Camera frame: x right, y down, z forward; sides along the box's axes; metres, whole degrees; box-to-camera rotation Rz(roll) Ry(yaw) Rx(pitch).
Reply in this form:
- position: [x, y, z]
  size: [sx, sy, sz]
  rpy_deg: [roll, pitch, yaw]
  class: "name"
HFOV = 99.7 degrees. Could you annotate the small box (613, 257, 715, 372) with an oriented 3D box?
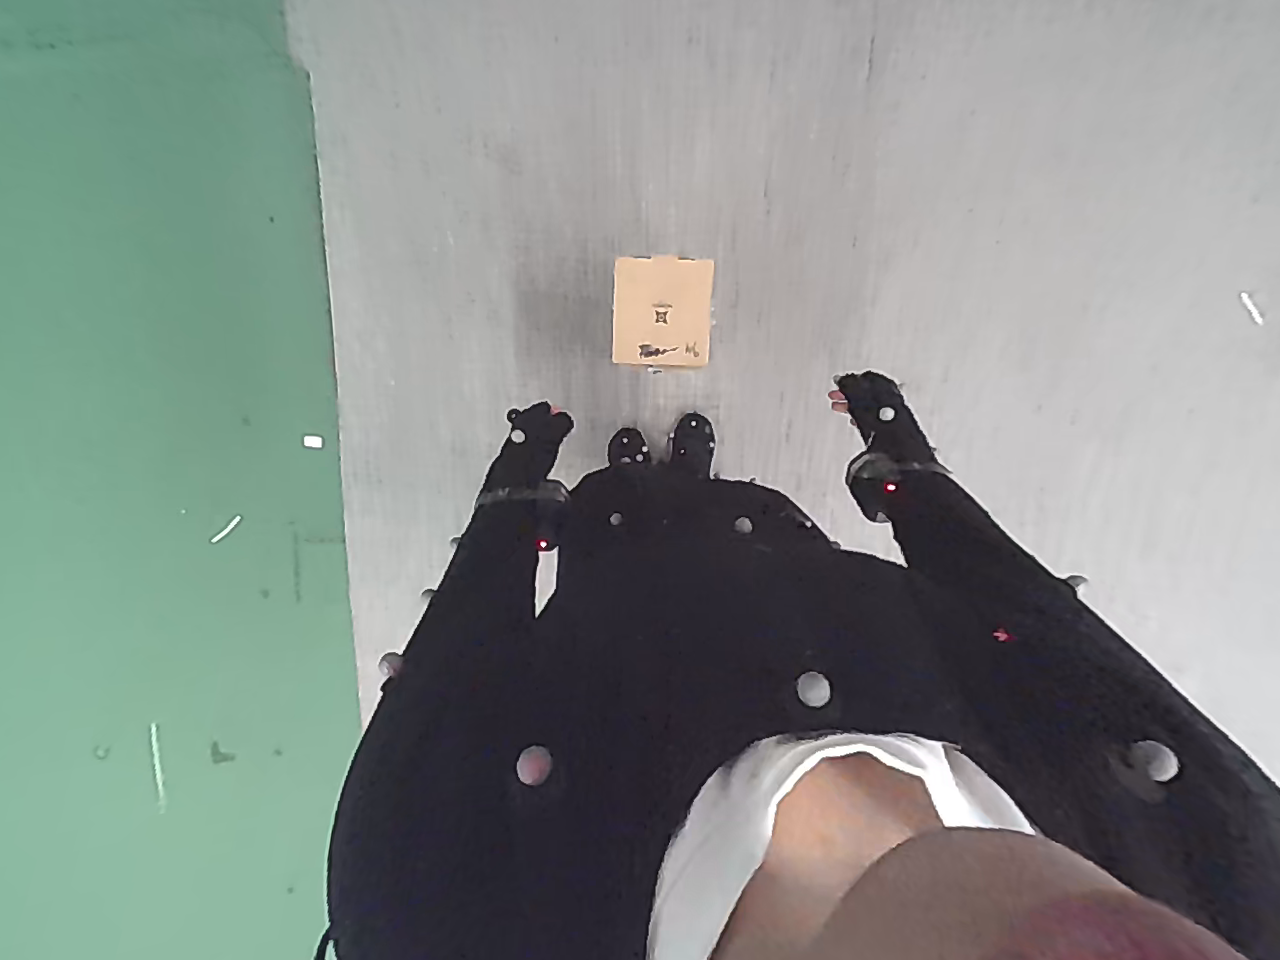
- position: [0.043, -0.295, 0.991]
  size: [0.168, 0.176, 0.179]
  rpy_deg: [3, 99, 3]
  class: "small box"
